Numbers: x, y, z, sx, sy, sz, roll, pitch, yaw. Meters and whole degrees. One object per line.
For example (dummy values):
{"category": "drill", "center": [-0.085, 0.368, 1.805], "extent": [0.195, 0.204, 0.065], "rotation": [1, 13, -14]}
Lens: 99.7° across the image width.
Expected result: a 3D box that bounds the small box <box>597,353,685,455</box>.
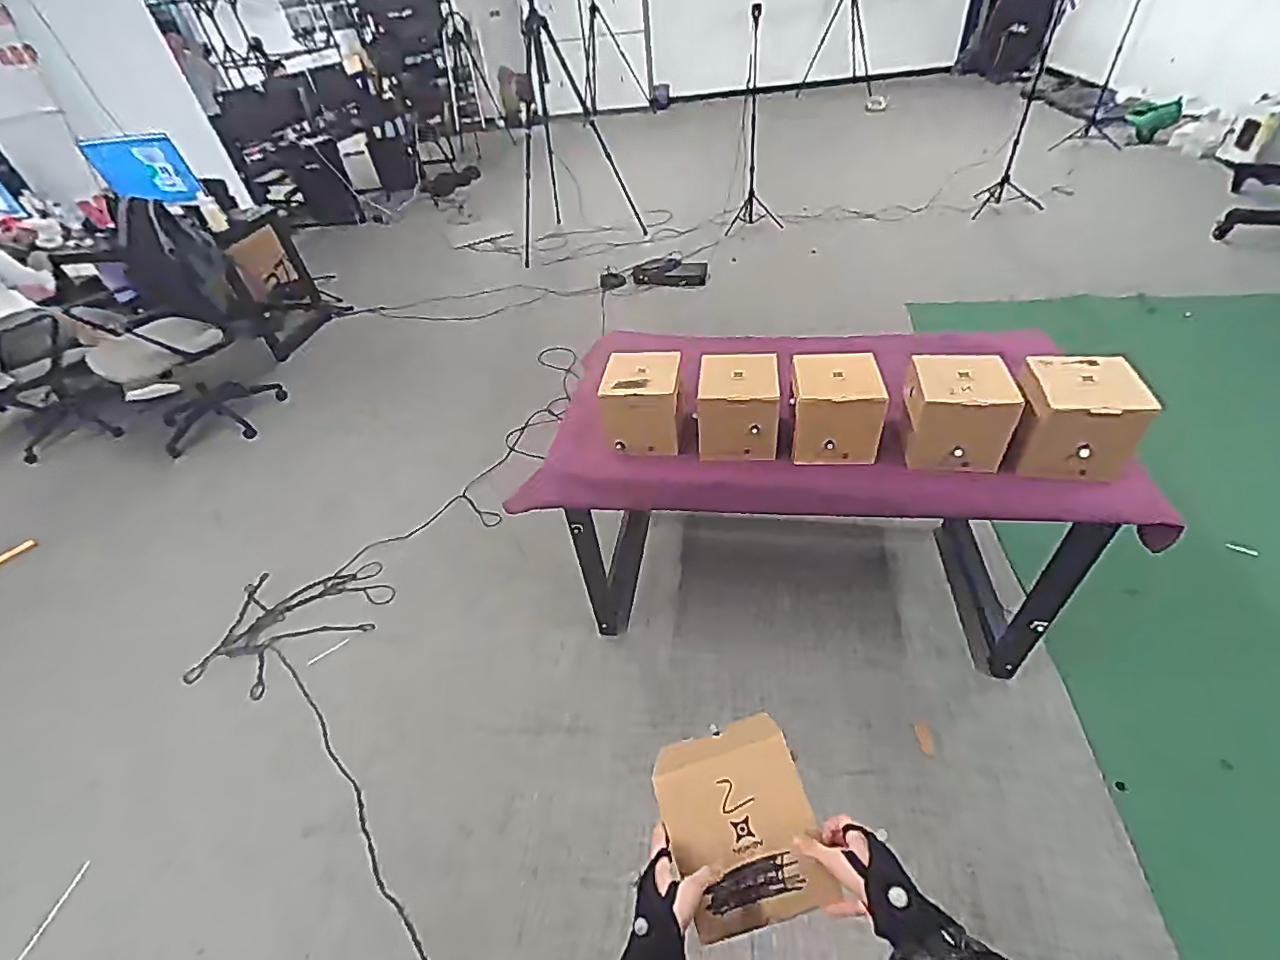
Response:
{"category": "small box", "center": [0.012, -0.171, 1.236], "extent": [0.168, 0.176, 0.179], "rotation": [1, 43, 11]}
